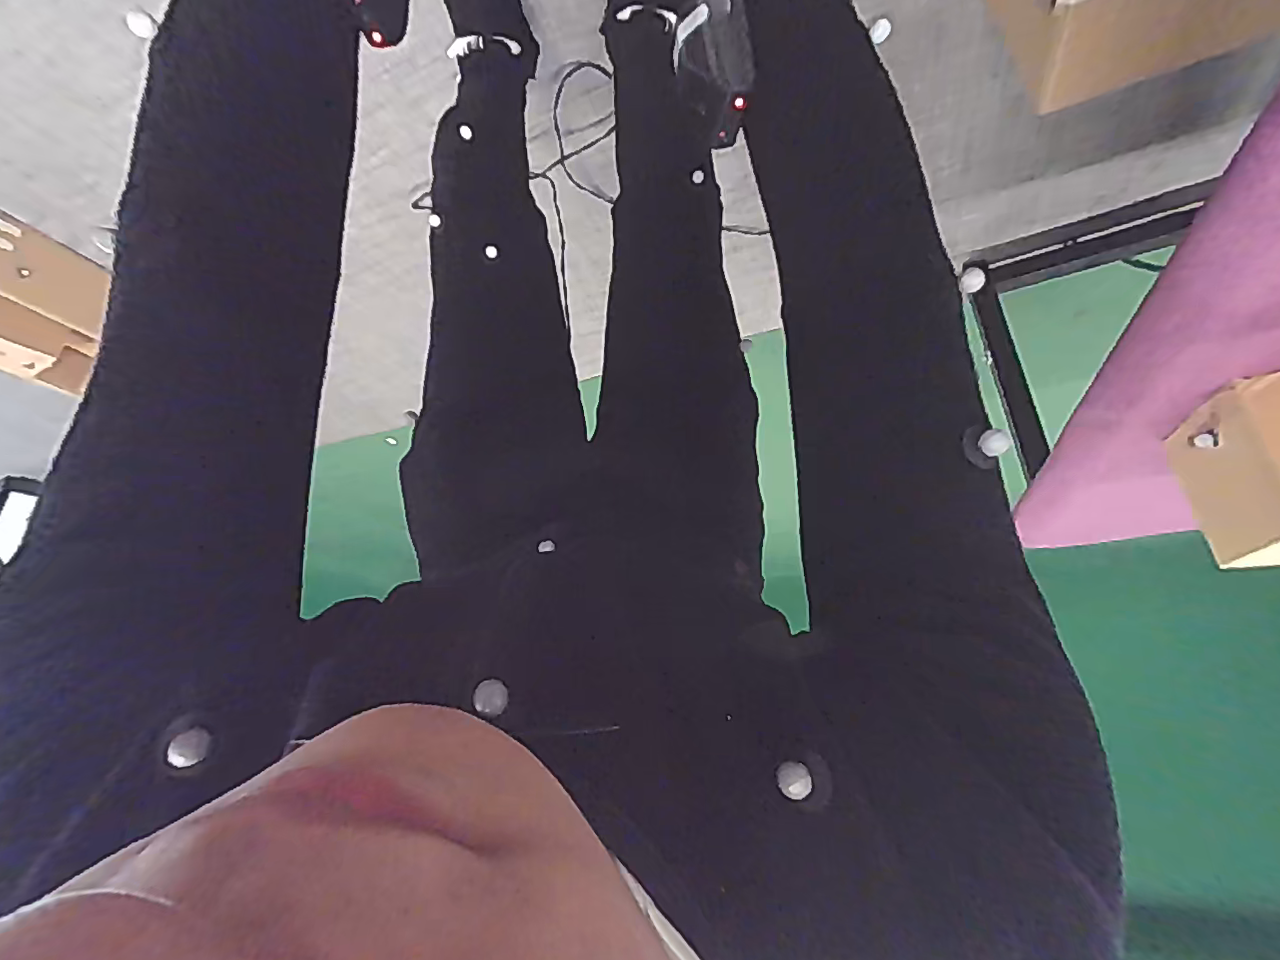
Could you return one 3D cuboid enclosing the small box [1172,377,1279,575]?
[{"bbox_3d":[0.716,-0.010,0.552,0.179,0.176,0.168,-10,155,20],"label":"small box"}]

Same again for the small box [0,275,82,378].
[{"bbox_3d":[-1.569,-0.388,1.351,0.168,0.176,0.179,-13,155,25],"label":"small box"}]
